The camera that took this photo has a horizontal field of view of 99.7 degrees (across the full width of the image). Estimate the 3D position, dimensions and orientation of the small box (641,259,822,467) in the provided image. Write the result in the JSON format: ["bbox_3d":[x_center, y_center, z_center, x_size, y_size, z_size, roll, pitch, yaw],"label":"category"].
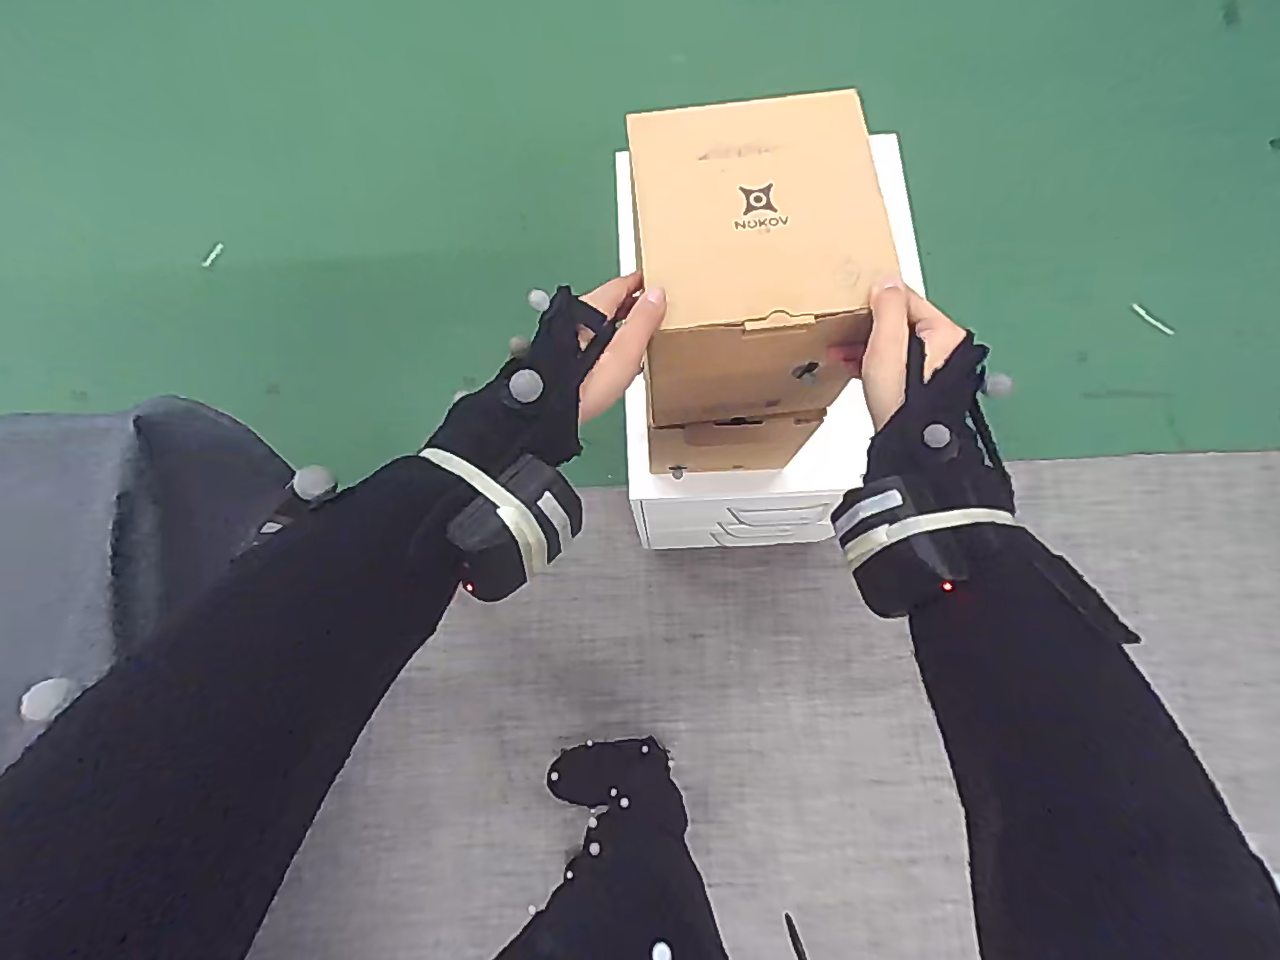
[{"bbox_3d":[0.087,-0.114,0.596,0.168,0.176,0.179,-2,75,0],"label":"small box"}]
